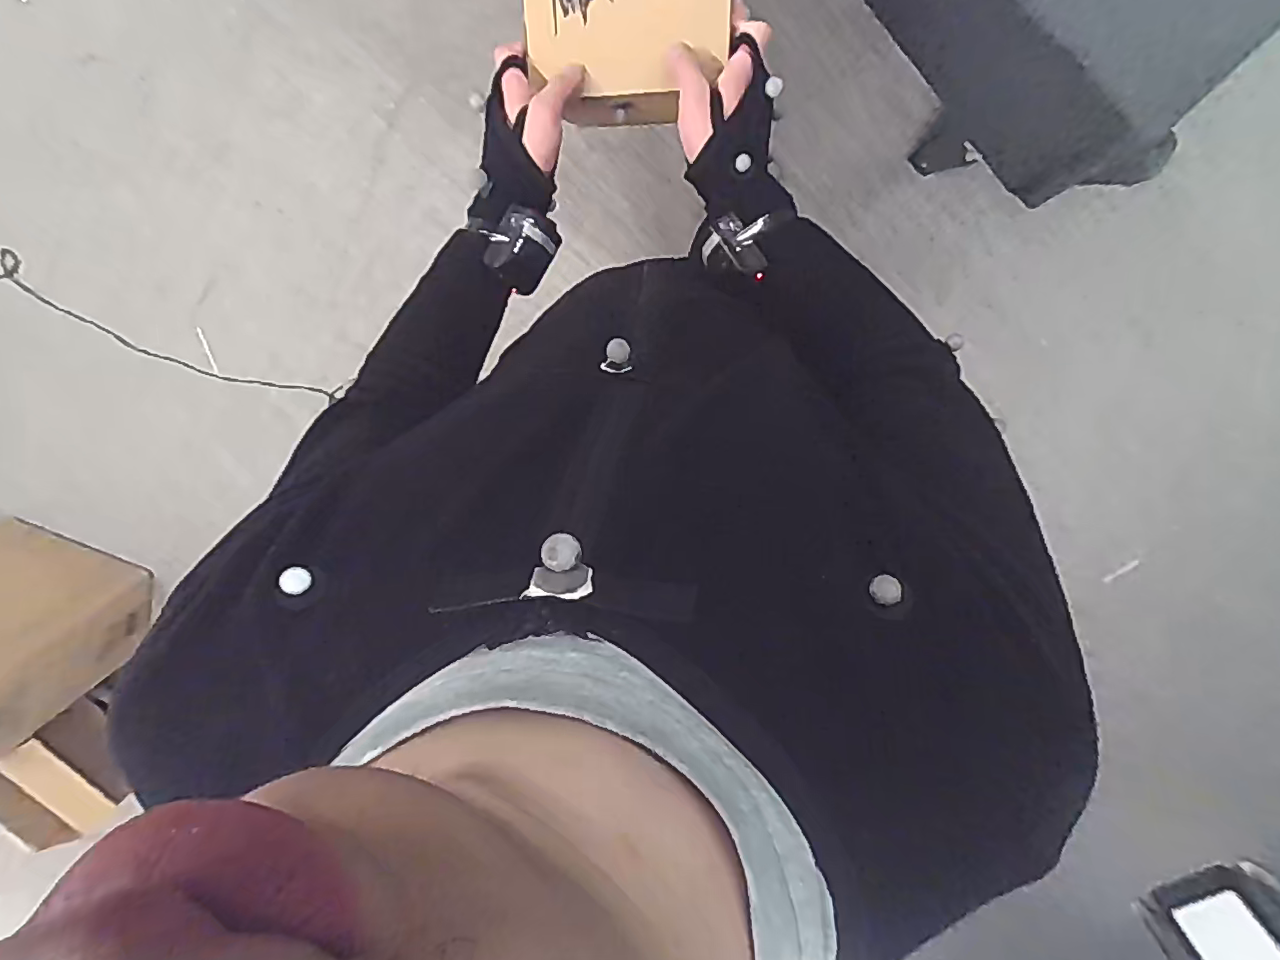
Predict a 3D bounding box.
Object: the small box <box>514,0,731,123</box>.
[{"bbox_3d":[-0.007,-0.438,0.493,0.179,0.176,0.168,2,116,8],"label":"small box"}]
